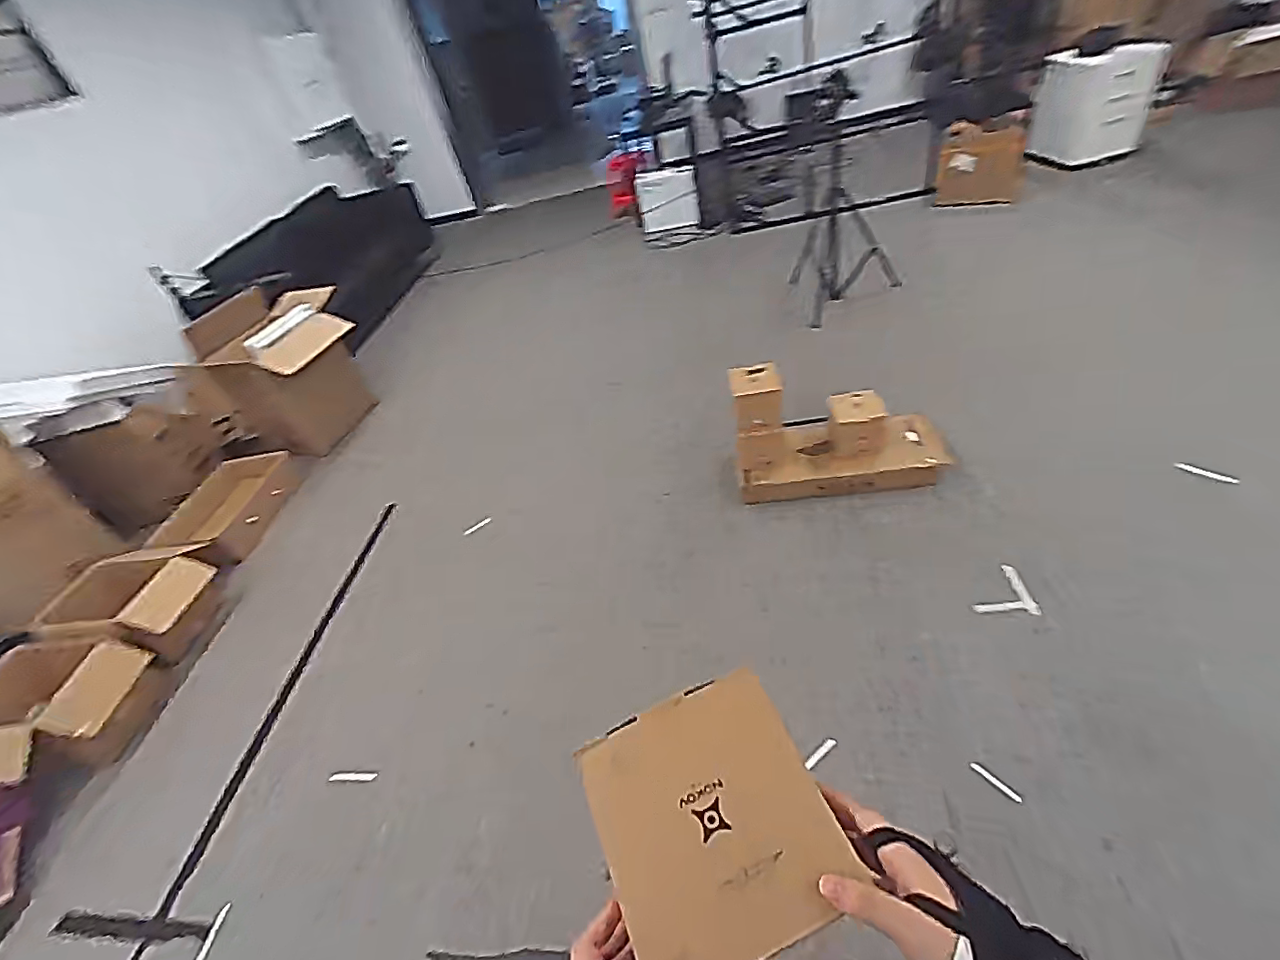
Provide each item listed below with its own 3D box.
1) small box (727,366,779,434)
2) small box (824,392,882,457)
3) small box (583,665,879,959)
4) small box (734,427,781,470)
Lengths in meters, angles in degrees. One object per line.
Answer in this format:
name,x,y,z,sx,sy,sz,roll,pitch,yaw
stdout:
small box,0.413,-0.291,1.982,0.168,0.176,0.179,-8,41,9
small box,0.789,-0.201,2.011,0.168,0.176,0.179,-9,41,9
small box,0.067,0.297,0.463,0.168,0.176,0.179,-23,51,-6
small box,0.449,-0.160,2.076,0.168,0.176,0.179,-7,41,10
